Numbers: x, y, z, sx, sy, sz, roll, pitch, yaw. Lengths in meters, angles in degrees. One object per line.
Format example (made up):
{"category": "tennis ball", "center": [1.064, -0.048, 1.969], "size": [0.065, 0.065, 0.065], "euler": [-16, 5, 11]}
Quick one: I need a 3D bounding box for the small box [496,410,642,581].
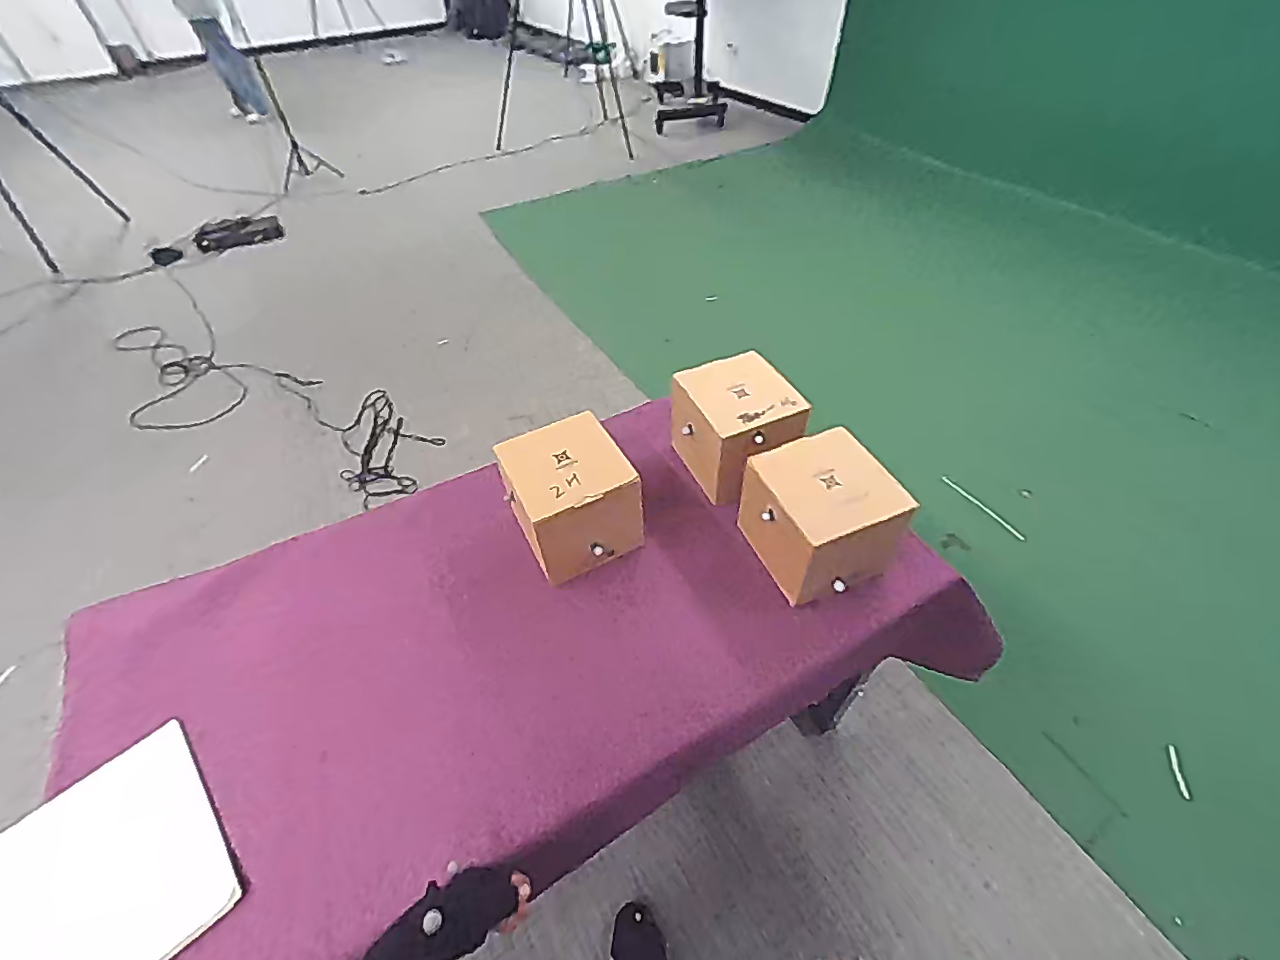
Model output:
{"category": "small box", "center": [-0.107, 0.025, 0.849], "size": [0.168, 0.176, 0.179], "euler": [-23, 52, -17]}

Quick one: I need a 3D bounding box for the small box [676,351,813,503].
{"category": "small box", "center": [0.167, -0.092, 0.942], "size": [0.168, 0.176, 0.179], "euler": [-19, 50, -14]}
